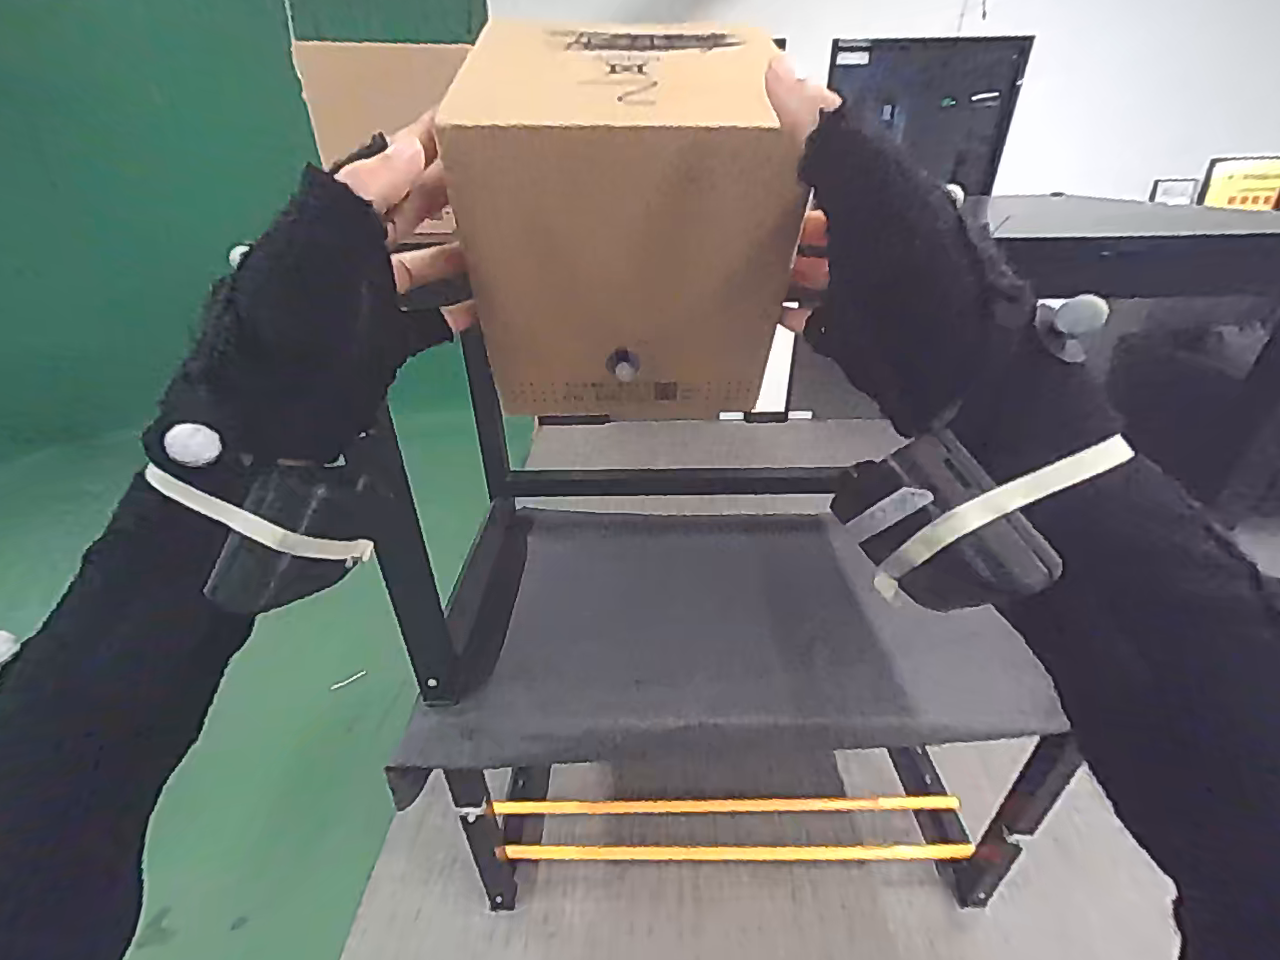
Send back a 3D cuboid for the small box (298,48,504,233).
[{"bbox_3d":[-0.260,-0.391,0.641,0.168,0.176,0.179,-3,30,-6],"label":"small box"}]
